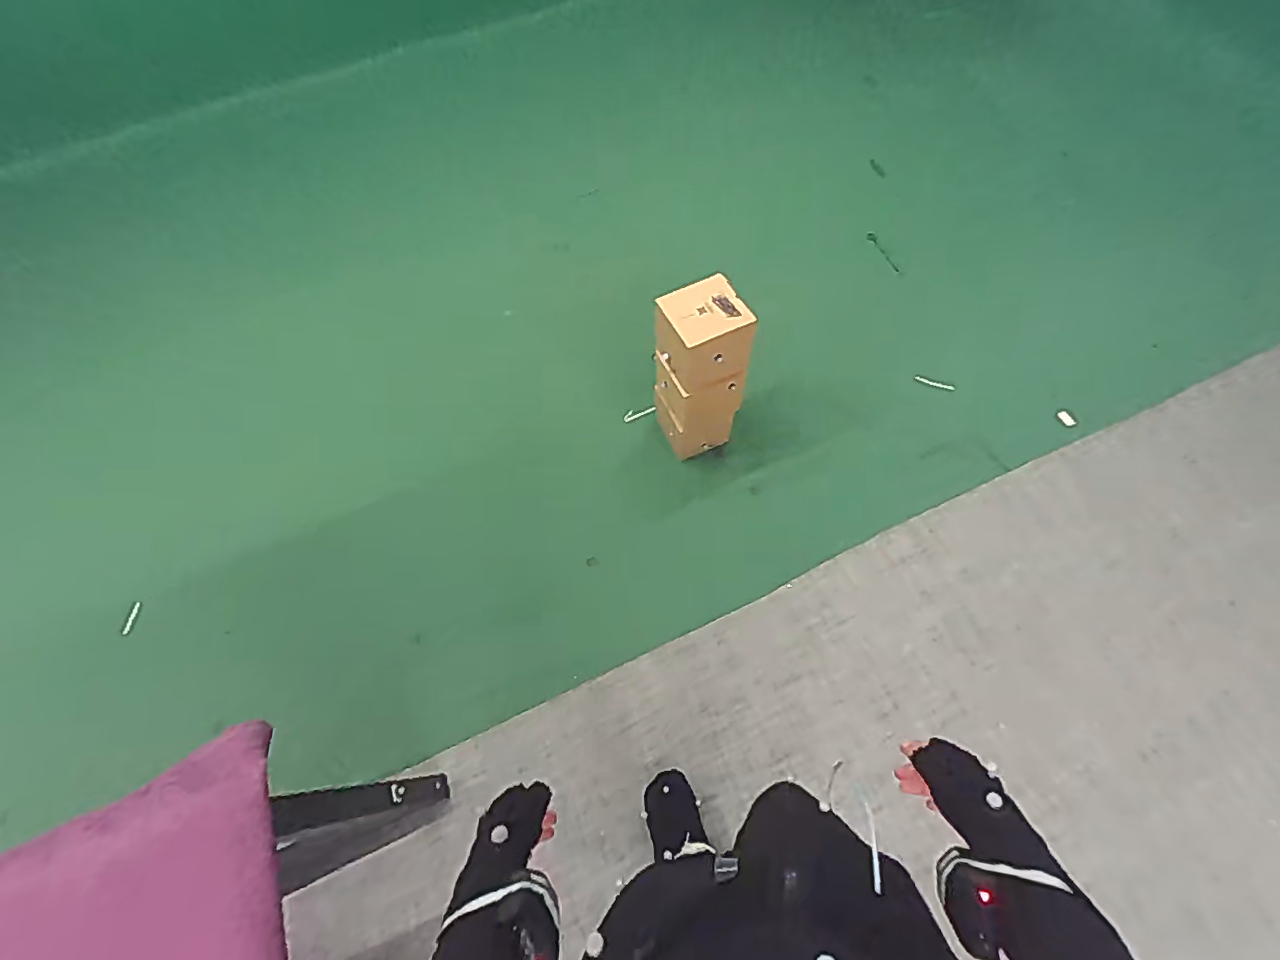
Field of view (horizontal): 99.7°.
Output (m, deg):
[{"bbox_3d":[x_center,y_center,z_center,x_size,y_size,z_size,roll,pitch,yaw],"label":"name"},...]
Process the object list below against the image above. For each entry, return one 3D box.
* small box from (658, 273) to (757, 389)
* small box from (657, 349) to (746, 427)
[{"bbox_3d":[0.152,-0.349,1.286,0.179,0.176,0.168,-25,65,-9],"label":"small box"},{"bbox_3d":[0.158,-0.266,1.428,0.179,0.176,0.168,-23,65,-9],"label":"small box"}]
